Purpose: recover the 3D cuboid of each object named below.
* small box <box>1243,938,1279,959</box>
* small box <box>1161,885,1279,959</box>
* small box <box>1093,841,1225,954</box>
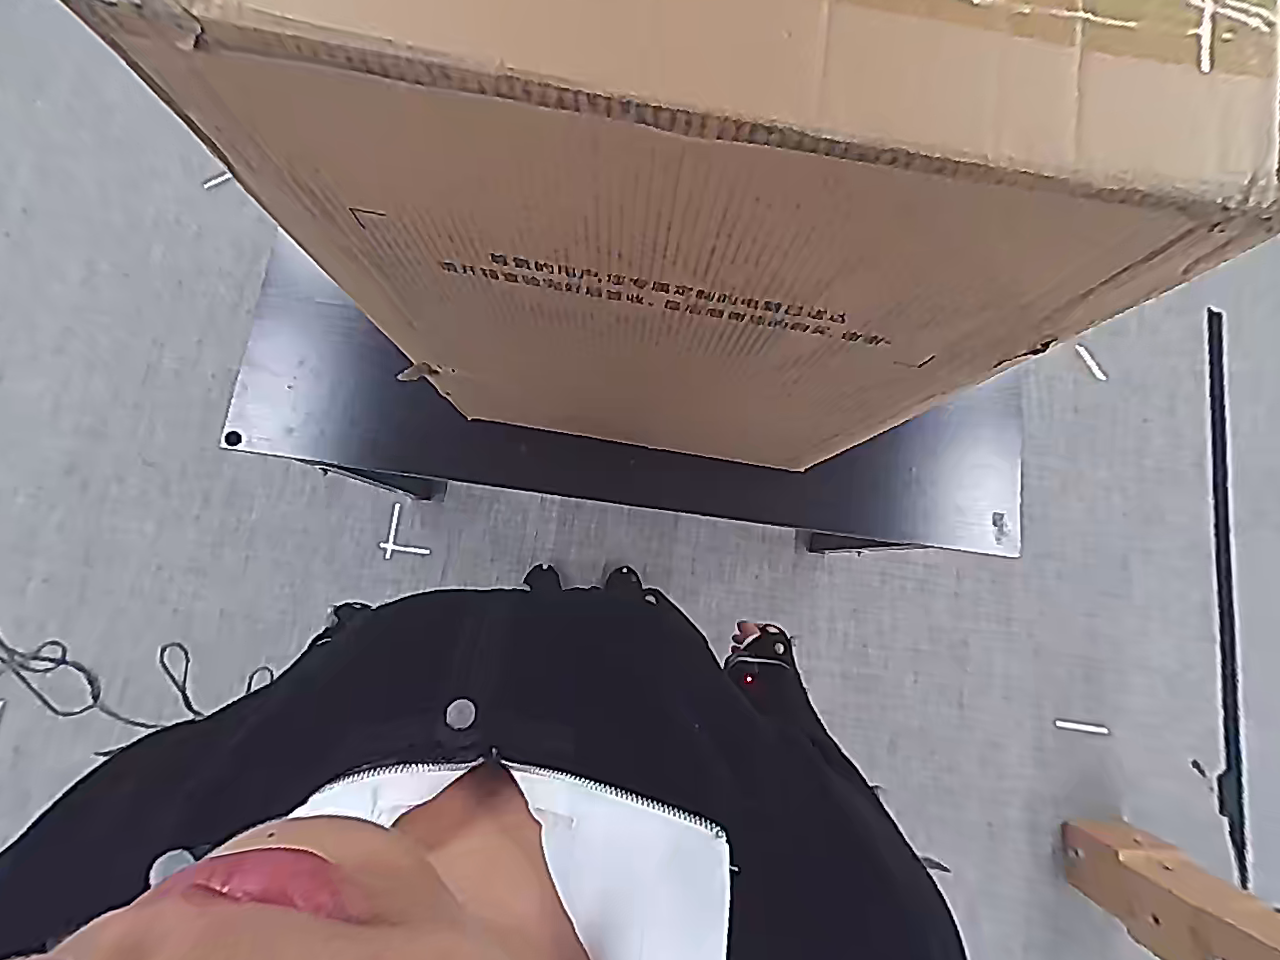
[{"bbox_3d":[1.288,0.988,0.993,0.179,0.176,0.168,6,80,-3],"label":"small box"},{"bbox_3d":[1.275,1.005,1.158,0.179,0.176,0.168,1,81,-3],"label":"small box"},{"bbox_3d":[1.268,1.011,1.323,0.179,0.176,0.168,2,81,-2],"label":"small box"}]
